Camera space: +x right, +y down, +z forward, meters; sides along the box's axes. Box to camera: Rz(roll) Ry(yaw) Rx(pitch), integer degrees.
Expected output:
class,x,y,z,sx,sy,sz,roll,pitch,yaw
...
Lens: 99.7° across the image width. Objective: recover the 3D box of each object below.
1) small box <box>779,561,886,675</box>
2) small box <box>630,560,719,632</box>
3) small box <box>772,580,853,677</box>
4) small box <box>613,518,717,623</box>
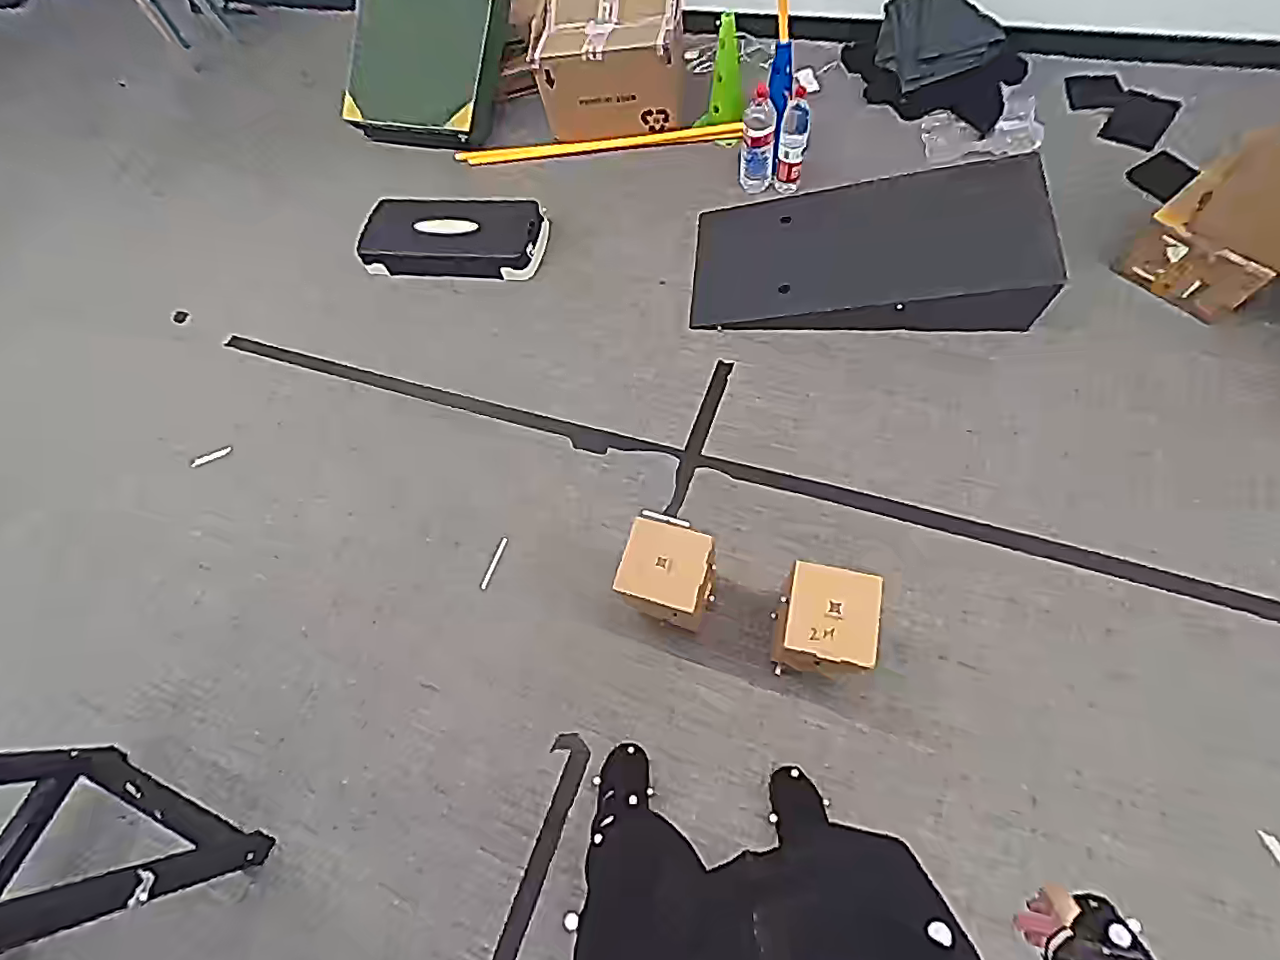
class,x,y,z,sx,sy,sz,roll,pitch,yaw
small box,0.380,0.283,1.089,0.168,0.176,0.179,11,70,13
small box,0.086,0.262,1.319,0.179,0.176,0.168,17,71,14
small box,0.401,0.346,1.240,0.168,0.176,0.179,10,69,12
small box,0.062,0.202,1.168,0.179,0.176,0.168,14,70,14
